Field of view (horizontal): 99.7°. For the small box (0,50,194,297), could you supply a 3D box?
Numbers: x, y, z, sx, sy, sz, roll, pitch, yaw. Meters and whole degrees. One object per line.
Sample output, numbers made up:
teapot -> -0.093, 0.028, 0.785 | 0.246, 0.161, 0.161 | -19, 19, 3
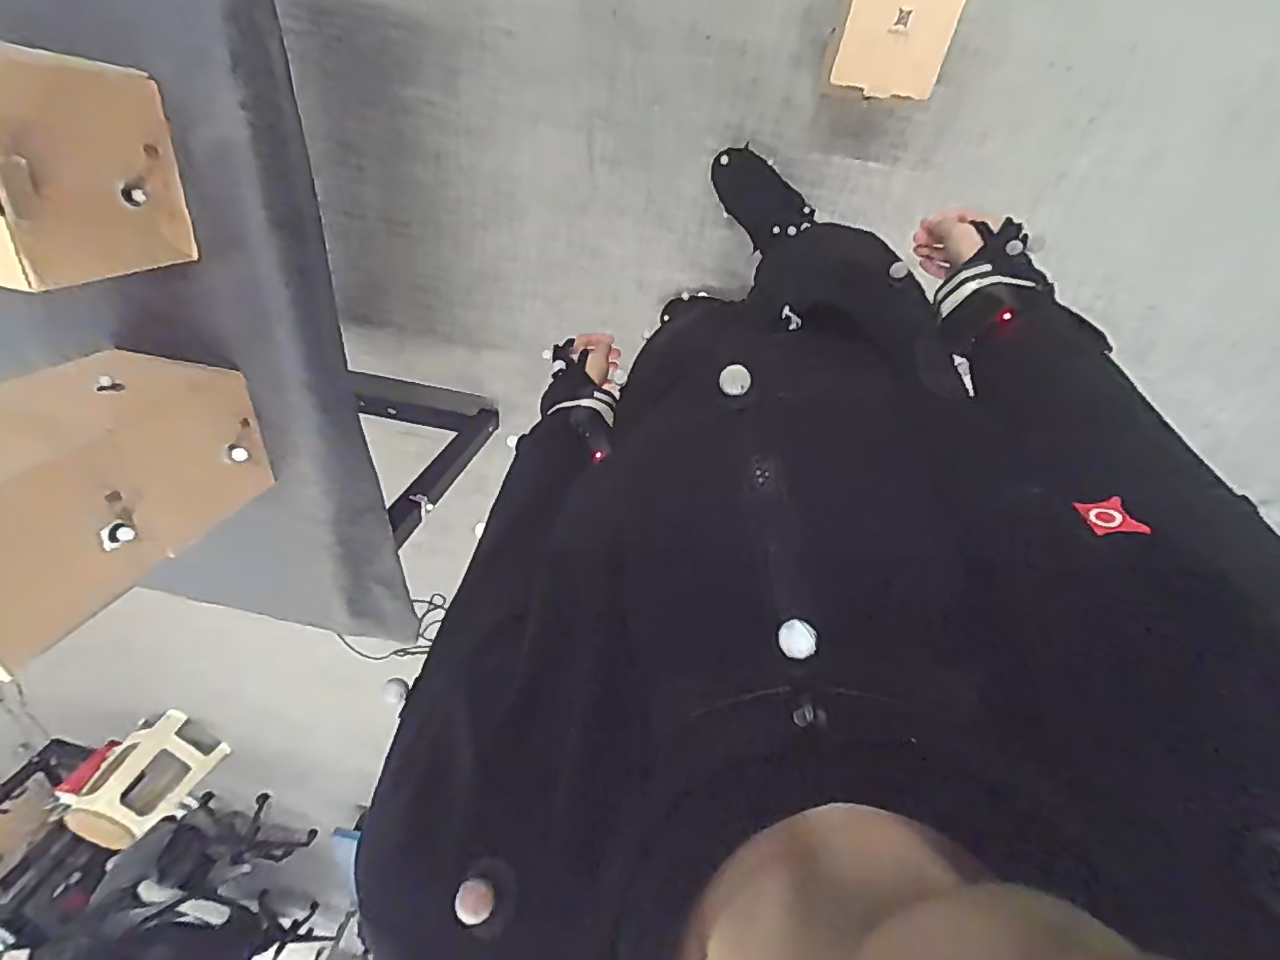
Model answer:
small box -> -0.560, -0.279, 0.478 | 0.179, 0.176, 0.168 | 12, 123, 2

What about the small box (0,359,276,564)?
small box -> -0.581, -0.031, 0.633 | 0.179, 0.176, 0.168 | 9, 123, 3

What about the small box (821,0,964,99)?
small box -> 0.407, -0.745, 0.888 | 0.168, 0.176, 0.179 | 12, 124, 2
